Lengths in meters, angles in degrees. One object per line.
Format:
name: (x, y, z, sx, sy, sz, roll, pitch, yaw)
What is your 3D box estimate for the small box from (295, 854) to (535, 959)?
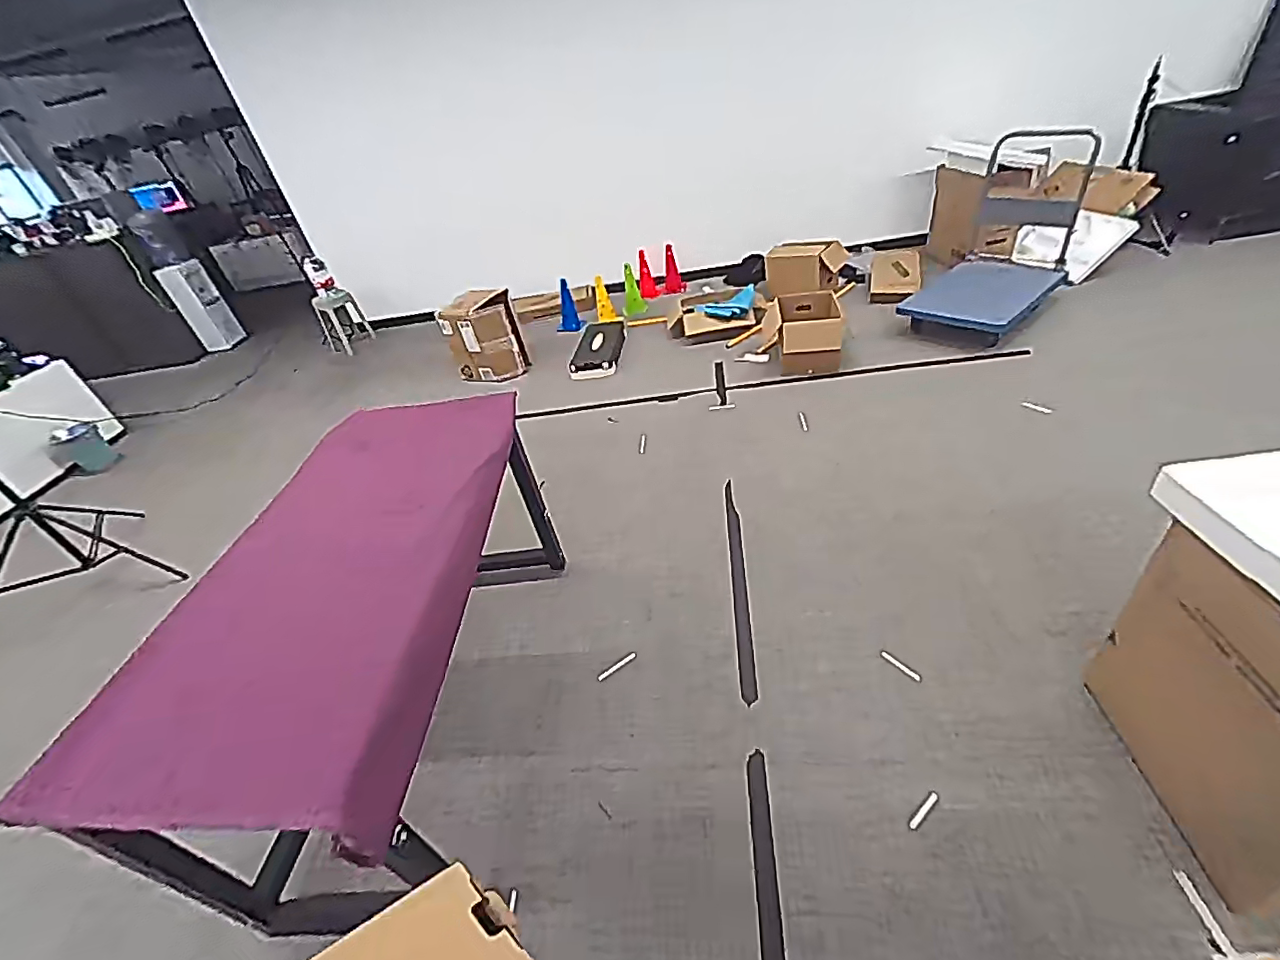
small box: (-0.222, 0.543, 0.539, 0.168, 0.176, 0.179, 18, 18, 41)
